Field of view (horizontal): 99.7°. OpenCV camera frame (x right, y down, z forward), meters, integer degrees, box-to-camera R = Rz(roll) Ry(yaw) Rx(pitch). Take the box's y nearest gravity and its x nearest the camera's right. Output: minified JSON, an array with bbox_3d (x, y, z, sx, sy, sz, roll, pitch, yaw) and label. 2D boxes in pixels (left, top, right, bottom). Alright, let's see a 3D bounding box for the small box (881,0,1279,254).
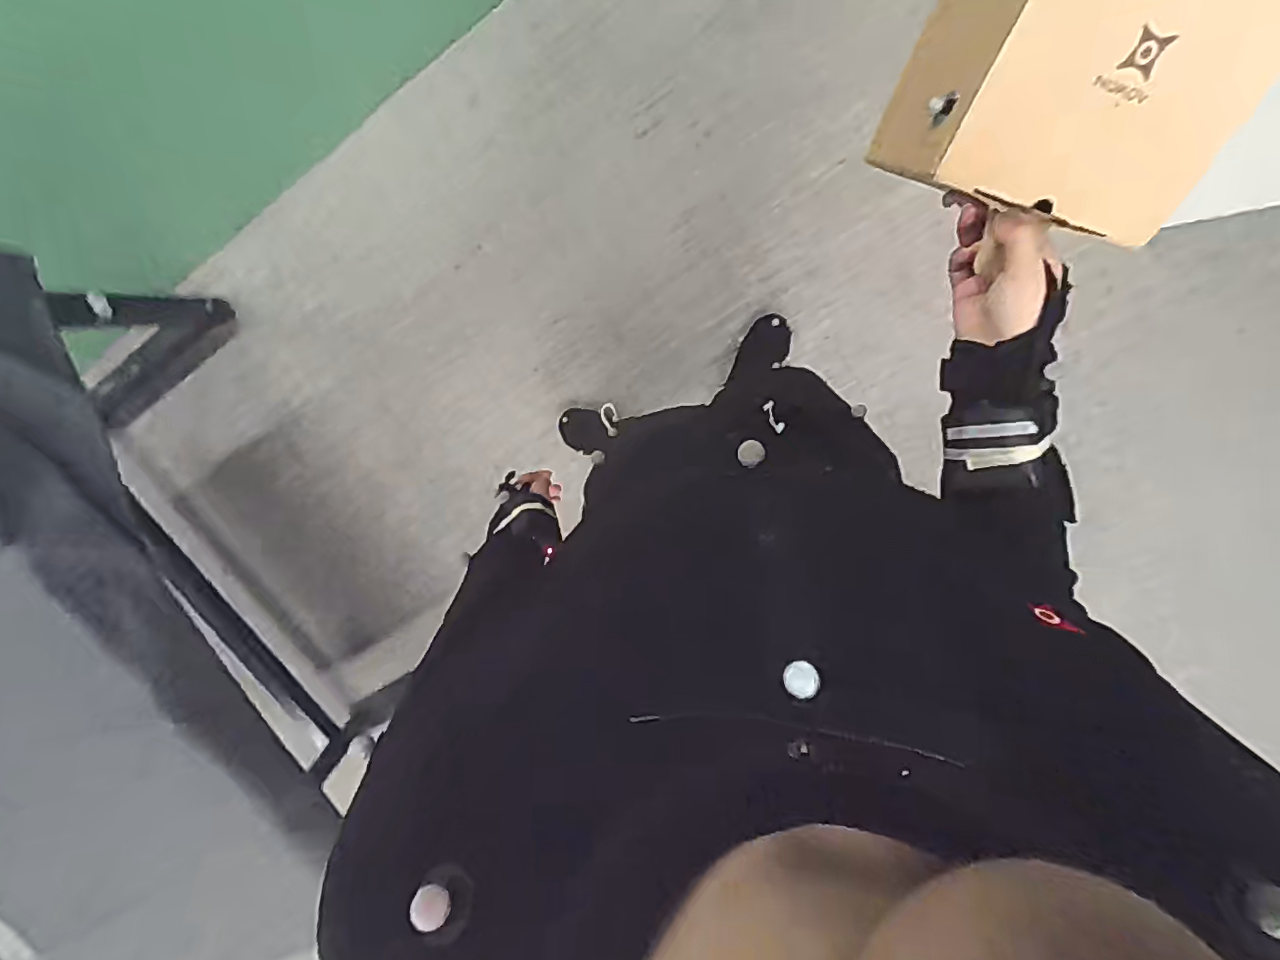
[{"bbox_3d":[0.305,-0.292,0.388,0.168,0.176,0.179,15,125,-6],"label":"small box"}]
